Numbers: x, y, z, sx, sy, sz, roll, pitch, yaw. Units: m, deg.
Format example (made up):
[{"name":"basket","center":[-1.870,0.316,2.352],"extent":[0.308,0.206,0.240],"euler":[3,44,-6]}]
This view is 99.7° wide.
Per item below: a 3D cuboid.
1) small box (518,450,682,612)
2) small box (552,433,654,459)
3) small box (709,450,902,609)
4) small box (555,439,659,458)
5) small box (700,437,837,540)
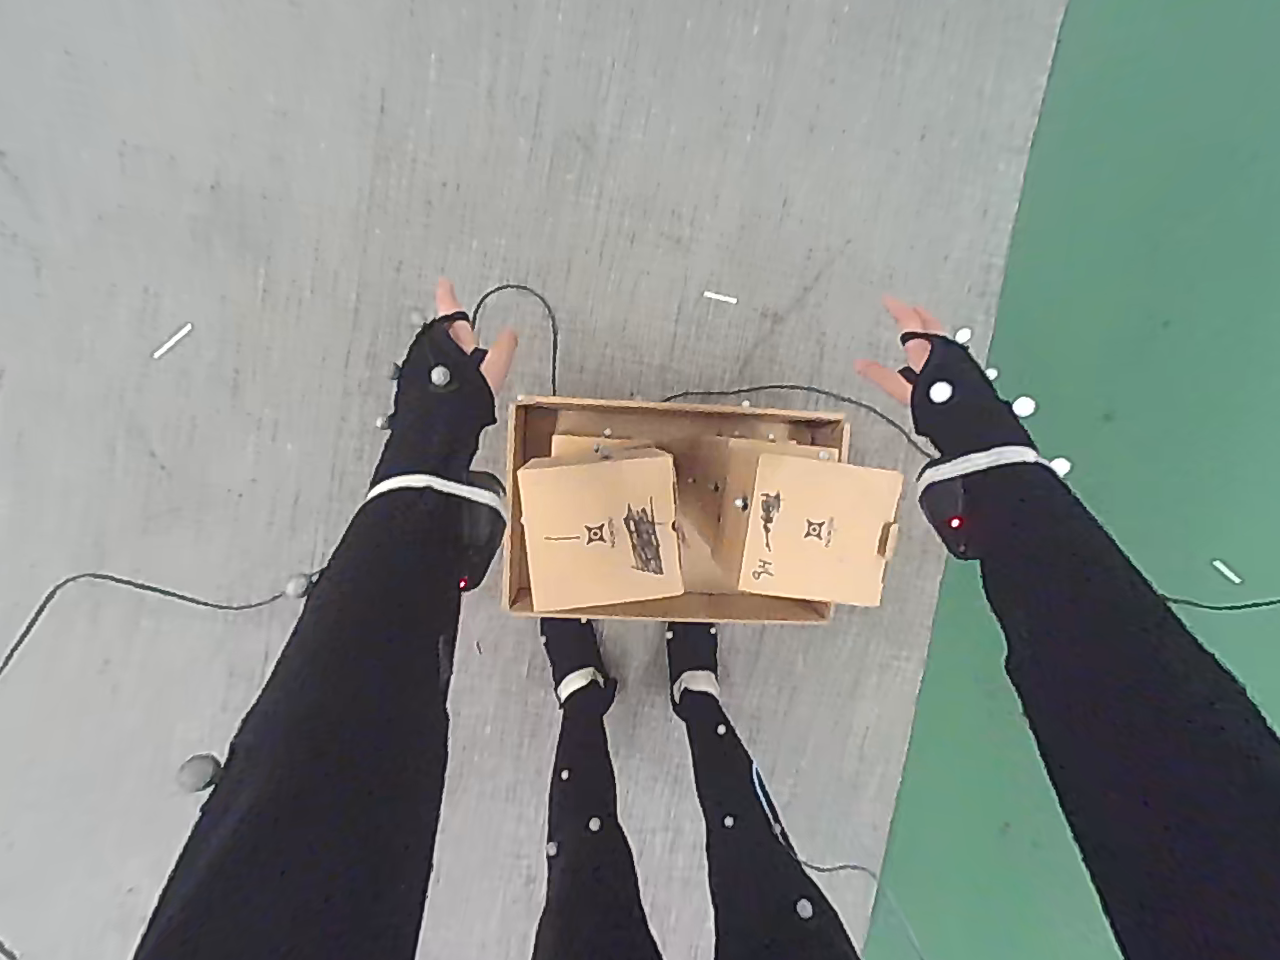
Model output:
[{"name":"small box","center":[-0.051,0.053,0.692],"extent":[0.179,0.176,0.168],"euler":[-6,97,-4]},{"name":"small box","center":[-0.075,-0.001,1.014],"extent":[0.179,0.176,0.168],"euler":[3,96,-7]},{"name":"small box","center":[0.202,0.054,0.707],"extent":[0.179,0.176,0.168],"euler":[8,95,-5]},{"name":"small box","center":[-0.053,0.033,0.856],"extent":[0.179,0.176,0.168],"euler":[-13,98,-3]},{"name":"small box","center":[0.195,0.025,0.870],"extent":[0.168,0.176,0.179],"euler":[5,96,-3]}]
